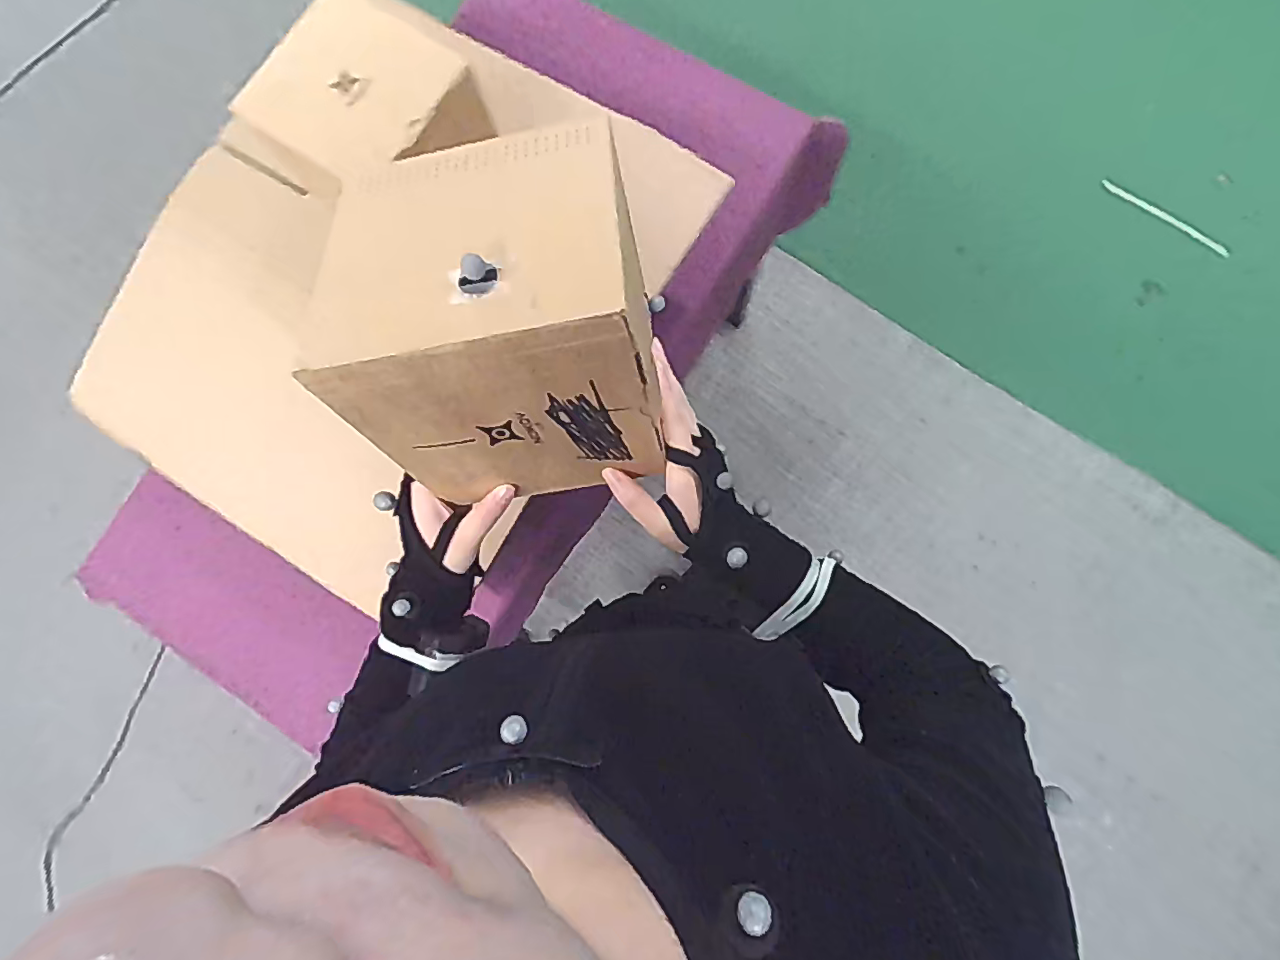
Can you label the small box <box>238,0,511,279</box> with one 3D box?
[{"bbox_3d":[-0.276,-0.361,0.605,0.179,0.176,0.168,34,85,7],"label":"small box"}]
